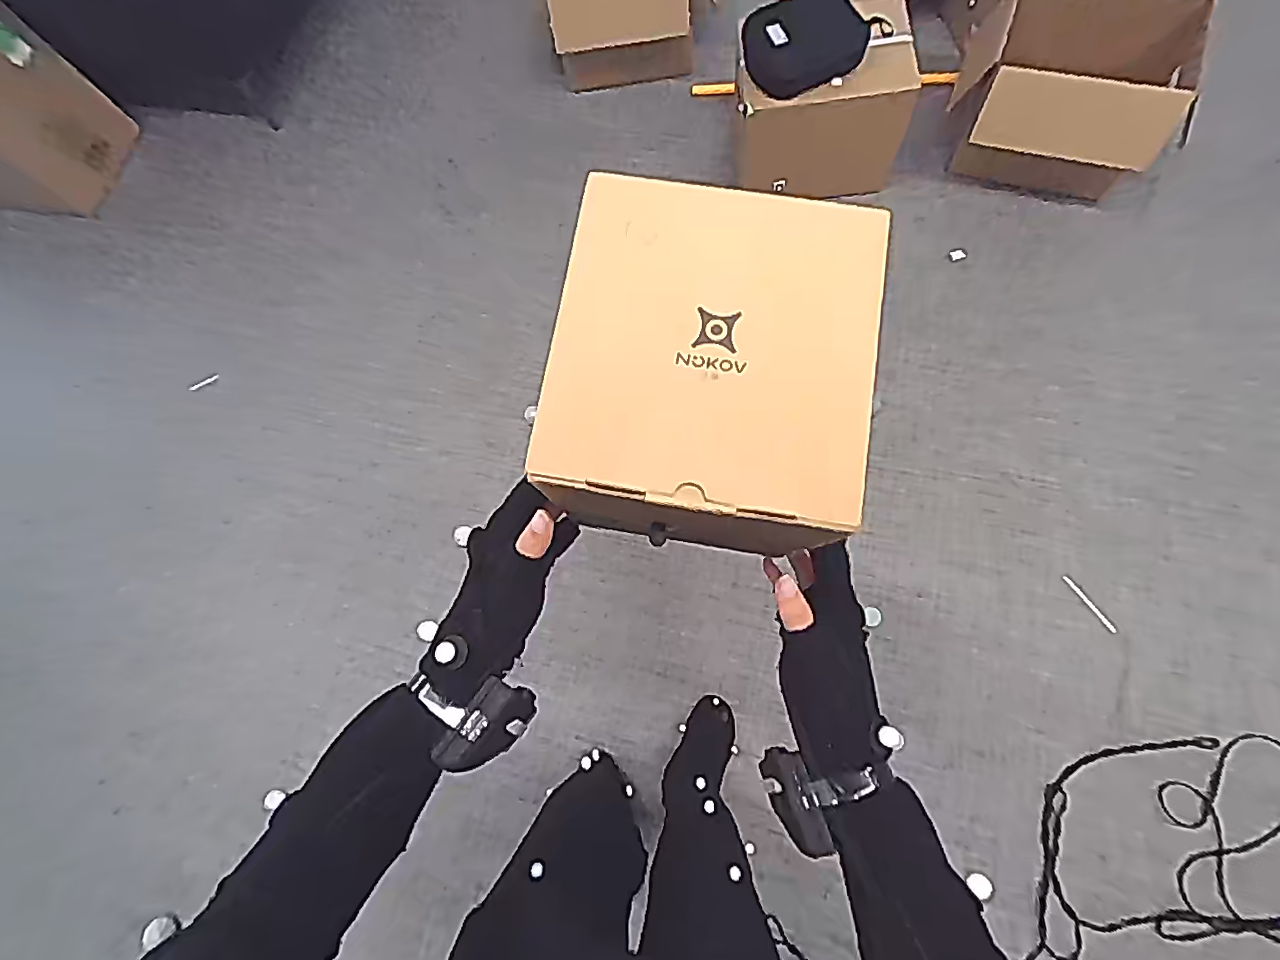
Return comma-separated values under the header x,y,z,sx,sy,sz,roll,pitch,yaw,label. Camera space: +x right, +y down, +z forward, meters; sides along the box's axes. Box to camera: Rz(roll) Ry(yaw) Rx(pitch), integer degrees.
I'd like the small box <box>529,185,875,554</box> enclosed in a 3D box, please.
x,y,z,sx,sy,sz,roll,pitch,yaw,label
0.038,-0.054,0.363,0.168,0.176,0.179,9,78,3,small box
